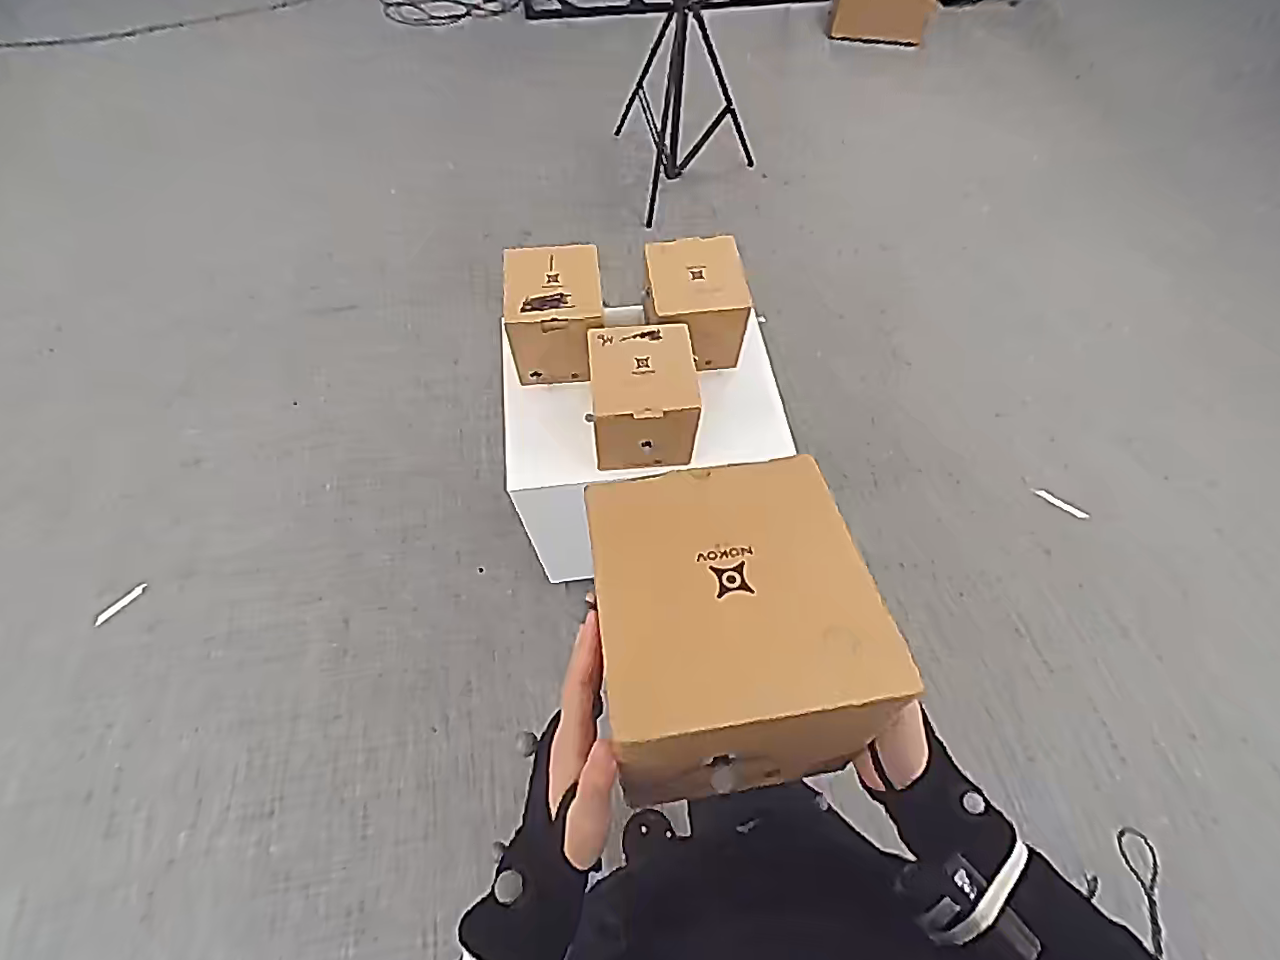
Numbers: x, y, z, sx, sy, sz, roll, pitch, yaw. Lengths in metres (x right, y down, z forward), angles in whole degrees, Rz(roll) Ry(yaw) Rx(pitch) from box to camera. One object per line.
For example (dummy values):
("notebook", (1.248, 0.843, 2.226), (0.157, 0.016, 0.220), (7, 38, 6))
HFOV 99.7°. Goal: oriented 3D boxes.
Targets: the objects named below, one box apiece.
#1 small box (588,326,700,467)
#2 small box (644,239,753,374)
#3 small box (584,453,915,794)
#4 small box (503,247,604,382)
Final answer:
("small box", (0.003, -0.131, 0.909), (0.168, 0.176, 0.179), (-4, 63, -3))
("small box", (0.099, -0.316, 1.007), (0.168, 0.176, 0.179), (-7, 65, -3))
("small box", (0.056, 0.108, 0.390), (0.168, 0.176, 0.179), (-8, 48, -5))
("small box", (-0.150, -0.293, 0.987), (0.168, 0.176, 0.179), (-5, 63, -4))
